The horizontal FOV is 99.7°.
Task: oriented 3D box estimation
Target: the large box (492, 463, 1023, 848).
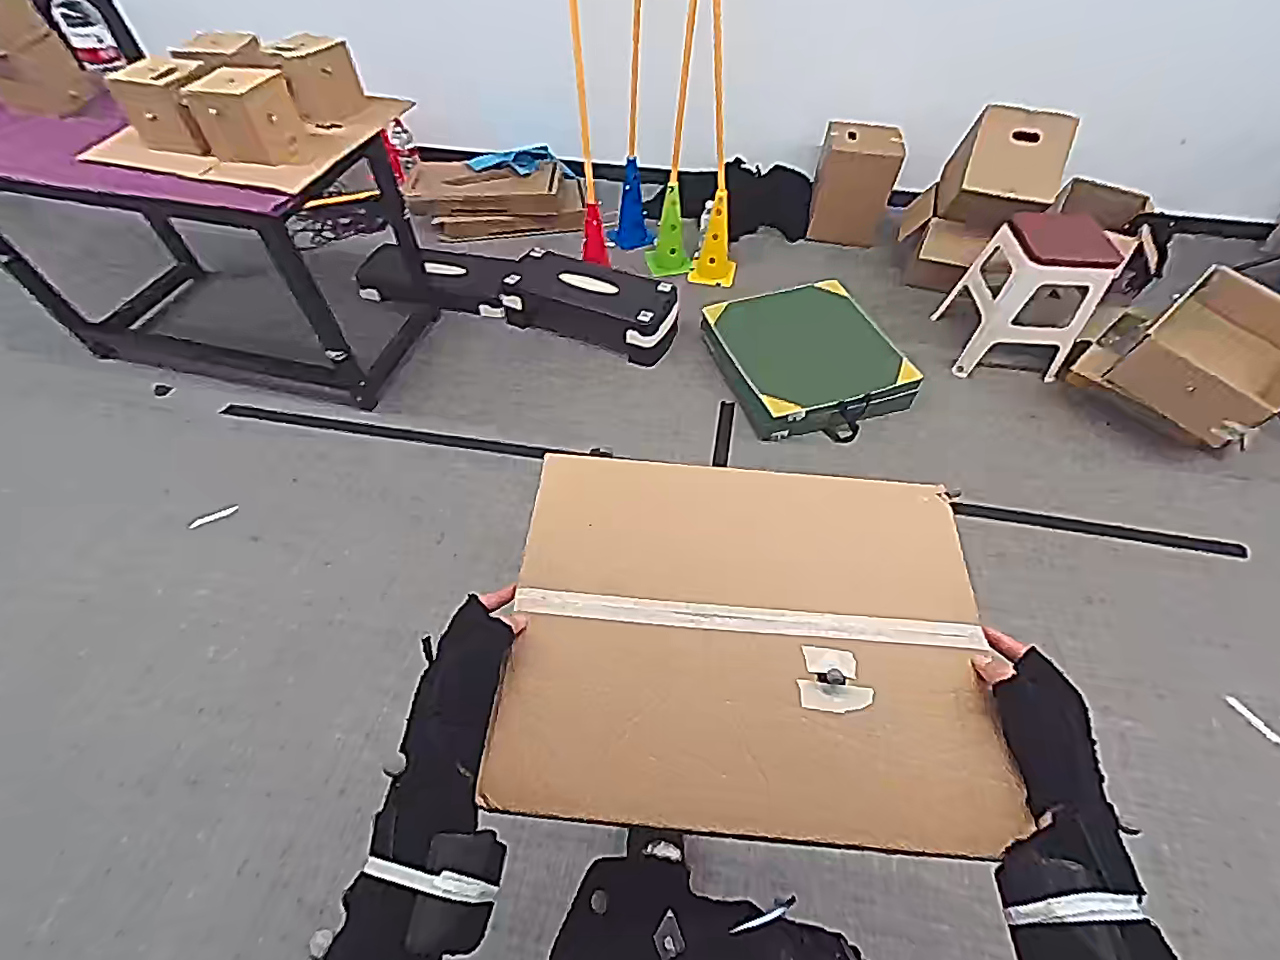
[{"bbox_3d":[0.090,0.204,0.602,0.408,0.320,0.320,5,58,1],"label":"large box"}]
